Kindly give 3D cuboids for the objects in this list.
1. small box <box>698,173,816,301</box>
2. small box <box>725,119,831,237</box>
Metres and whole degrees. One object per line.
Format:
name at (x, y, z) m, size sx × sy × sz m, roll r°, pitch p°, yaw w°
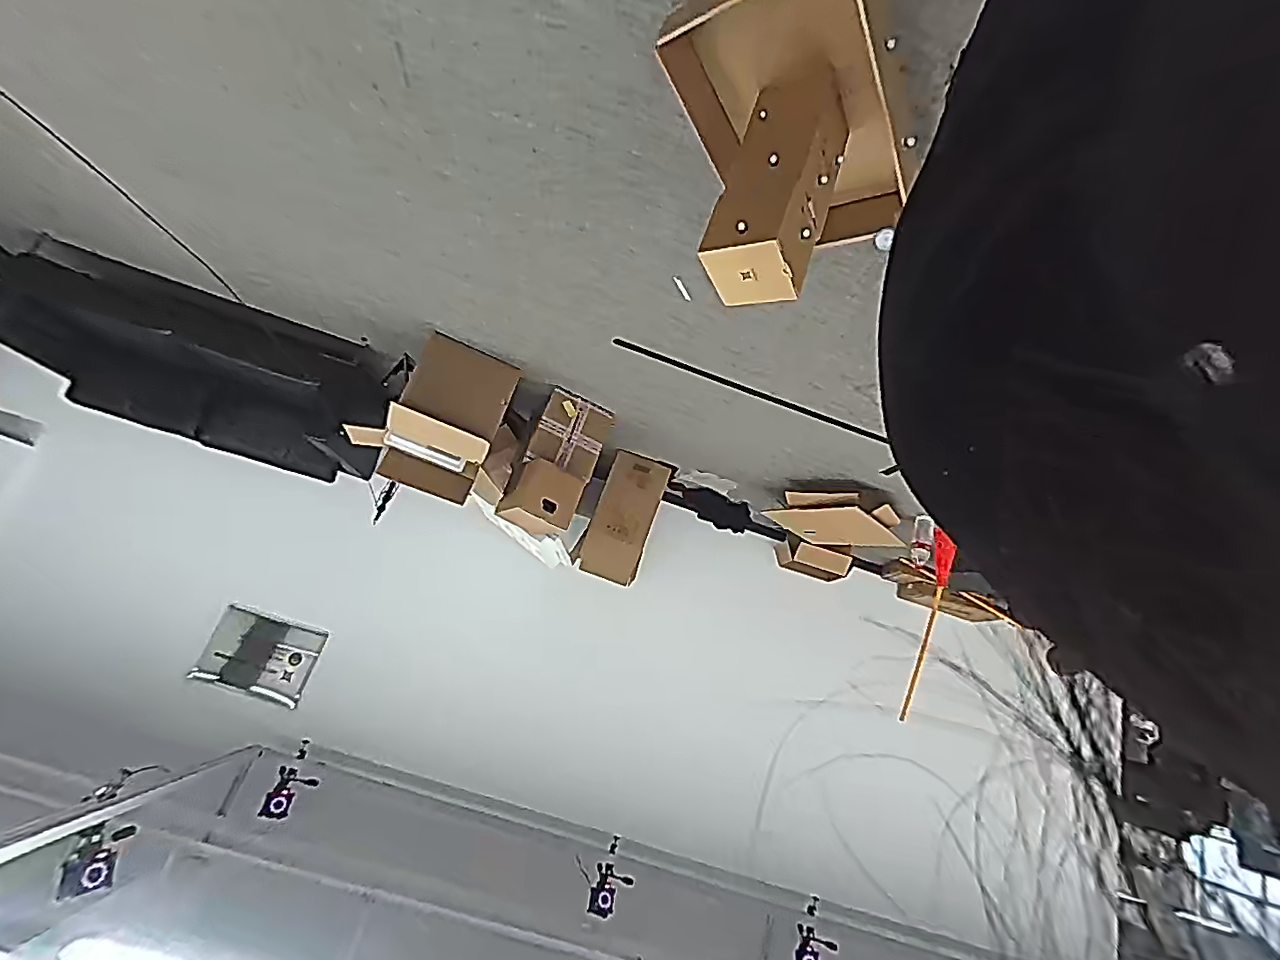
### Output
small box at (0.252, -0.507, 1.142) m, size 0.179 × 0.176 × 0.168 m, roll 6°, pitch 158°, yaw 35°
small box at (0.312, -0.650, 1.191) m, size 0.179 × 0.176 × 0.168 m, roll 6°, pitch 158°, yaw 34°
